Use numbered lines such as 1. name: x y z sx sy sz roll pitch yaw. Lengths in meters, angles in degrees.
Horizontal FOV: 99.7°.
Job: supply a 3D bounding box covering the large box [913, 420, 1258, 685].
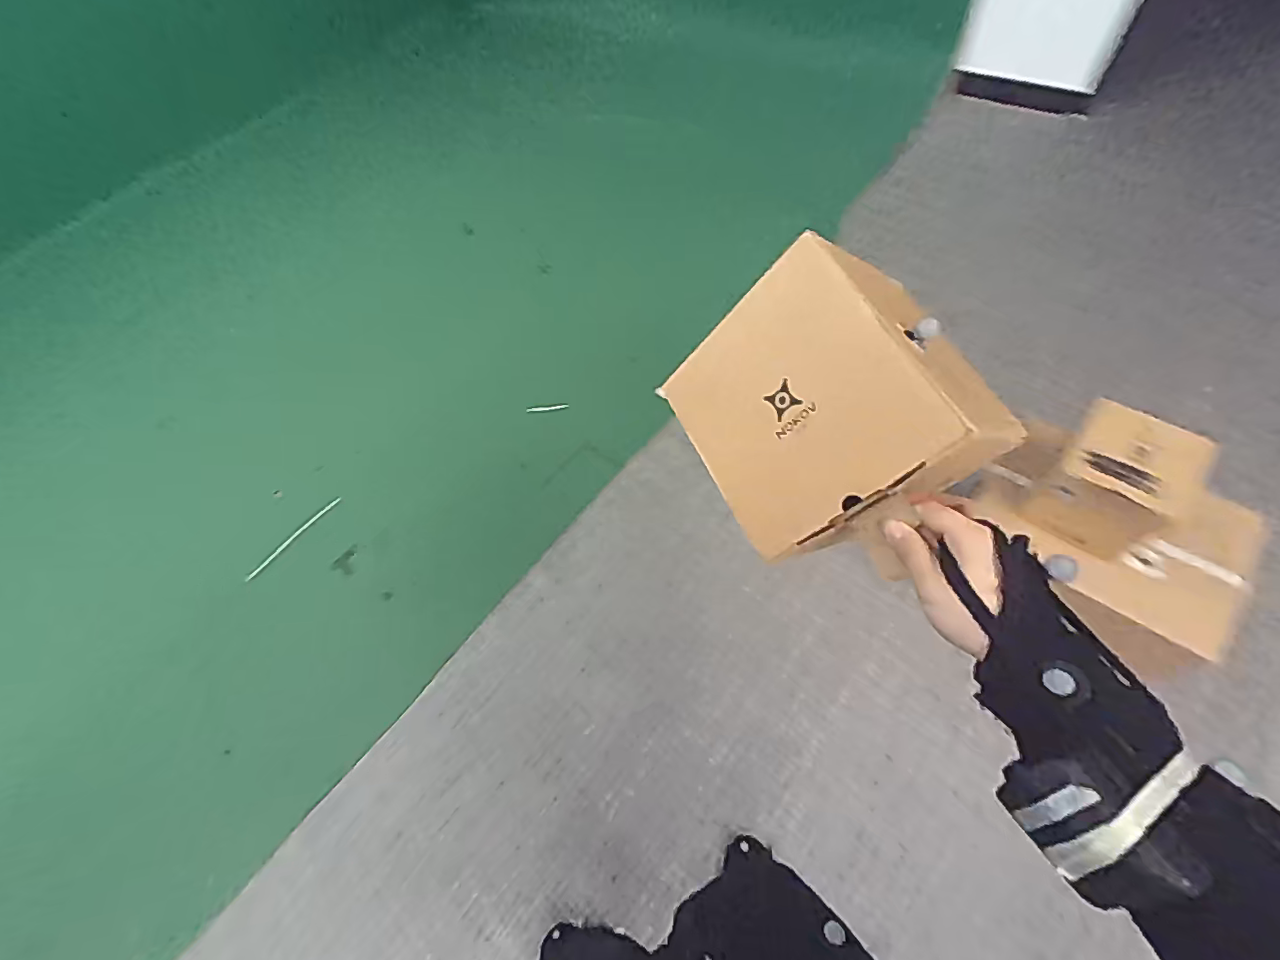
1. large box: 0.857 0.151 1.106 0.408 0.320 0.320 33 71 23
